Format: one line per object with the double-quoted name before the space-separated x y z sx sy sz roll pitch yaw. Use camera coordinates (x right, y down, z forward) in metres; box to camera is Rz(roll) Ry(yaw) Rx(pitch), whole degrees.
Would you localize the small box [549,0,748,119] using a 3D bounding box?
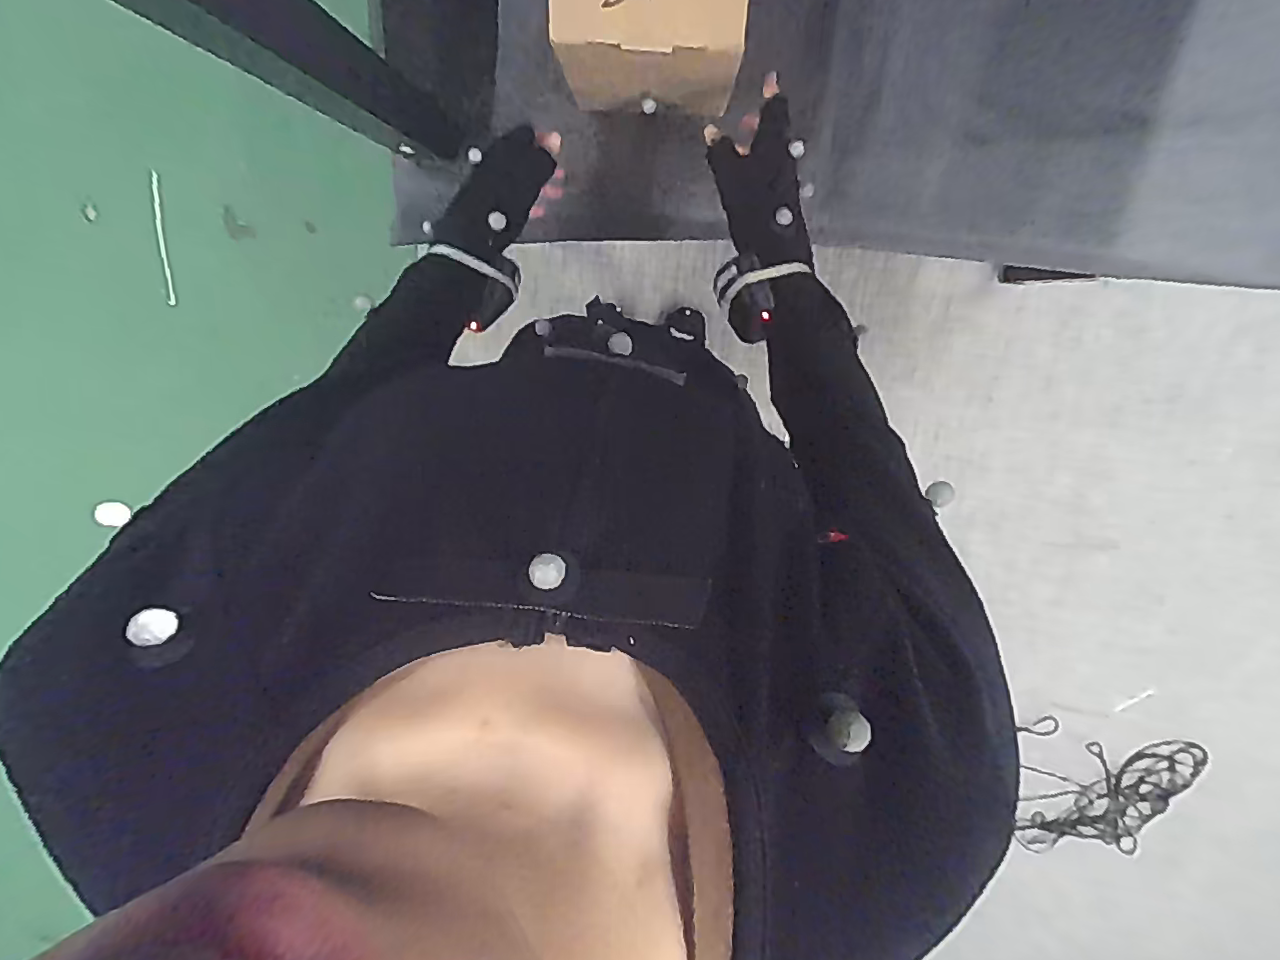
"small box" 0.013 -0.471 0.505 0.168 0.176 0.179 4 107 2
